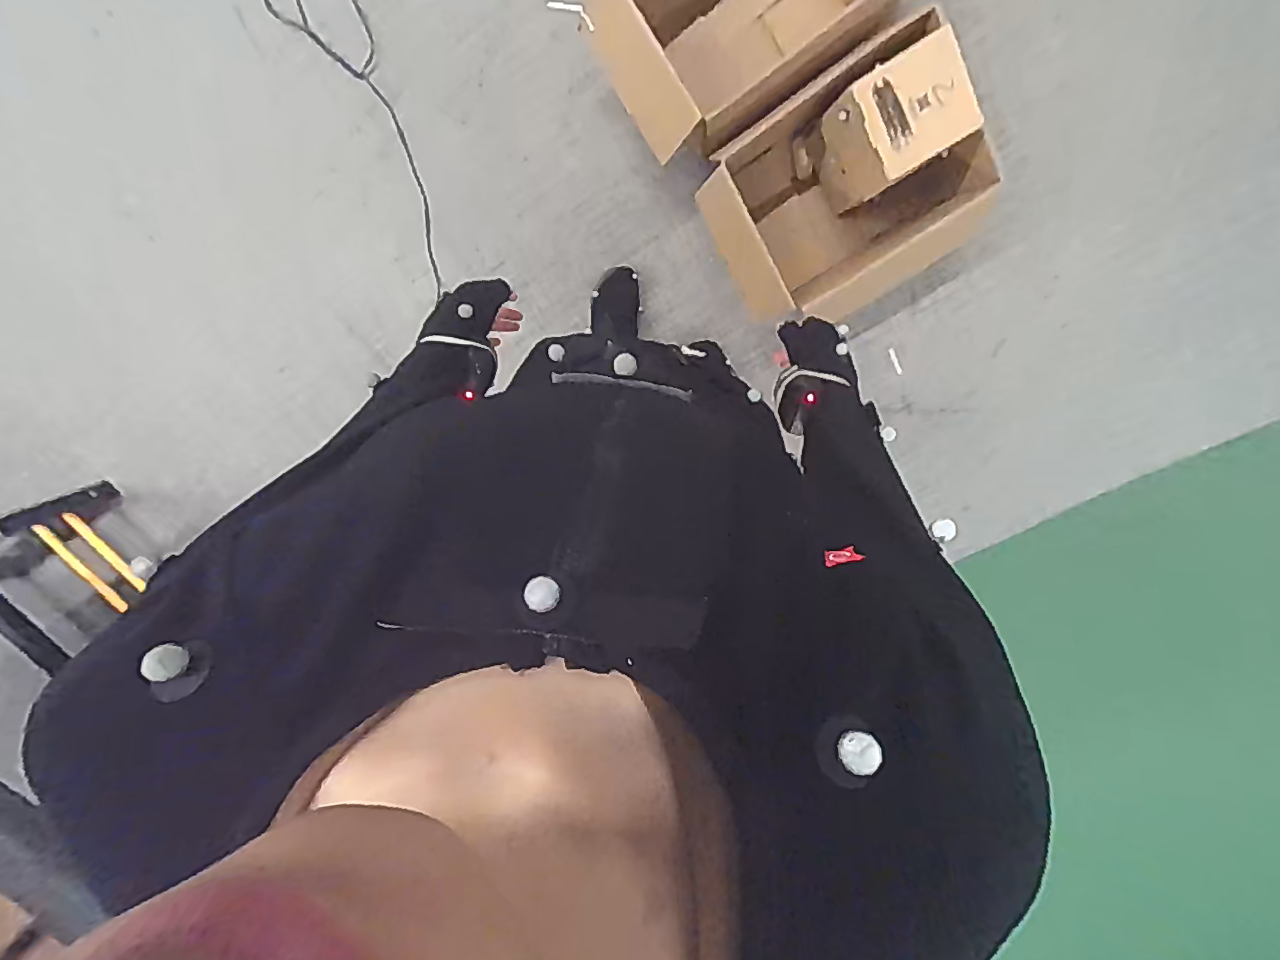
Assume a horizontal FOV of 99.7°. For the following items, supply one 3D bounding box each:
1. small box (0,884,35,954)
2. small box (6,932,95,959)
[{"bbox_3d":[-1.444,0.965,1.119,0.179,0.176,0.168,-30,105,14],"label":"small box"},{"bbox_3d":[-1.338,1.136,1.171,0.179,0.176,0.168,-30,105,14],"label":"small box"}]
